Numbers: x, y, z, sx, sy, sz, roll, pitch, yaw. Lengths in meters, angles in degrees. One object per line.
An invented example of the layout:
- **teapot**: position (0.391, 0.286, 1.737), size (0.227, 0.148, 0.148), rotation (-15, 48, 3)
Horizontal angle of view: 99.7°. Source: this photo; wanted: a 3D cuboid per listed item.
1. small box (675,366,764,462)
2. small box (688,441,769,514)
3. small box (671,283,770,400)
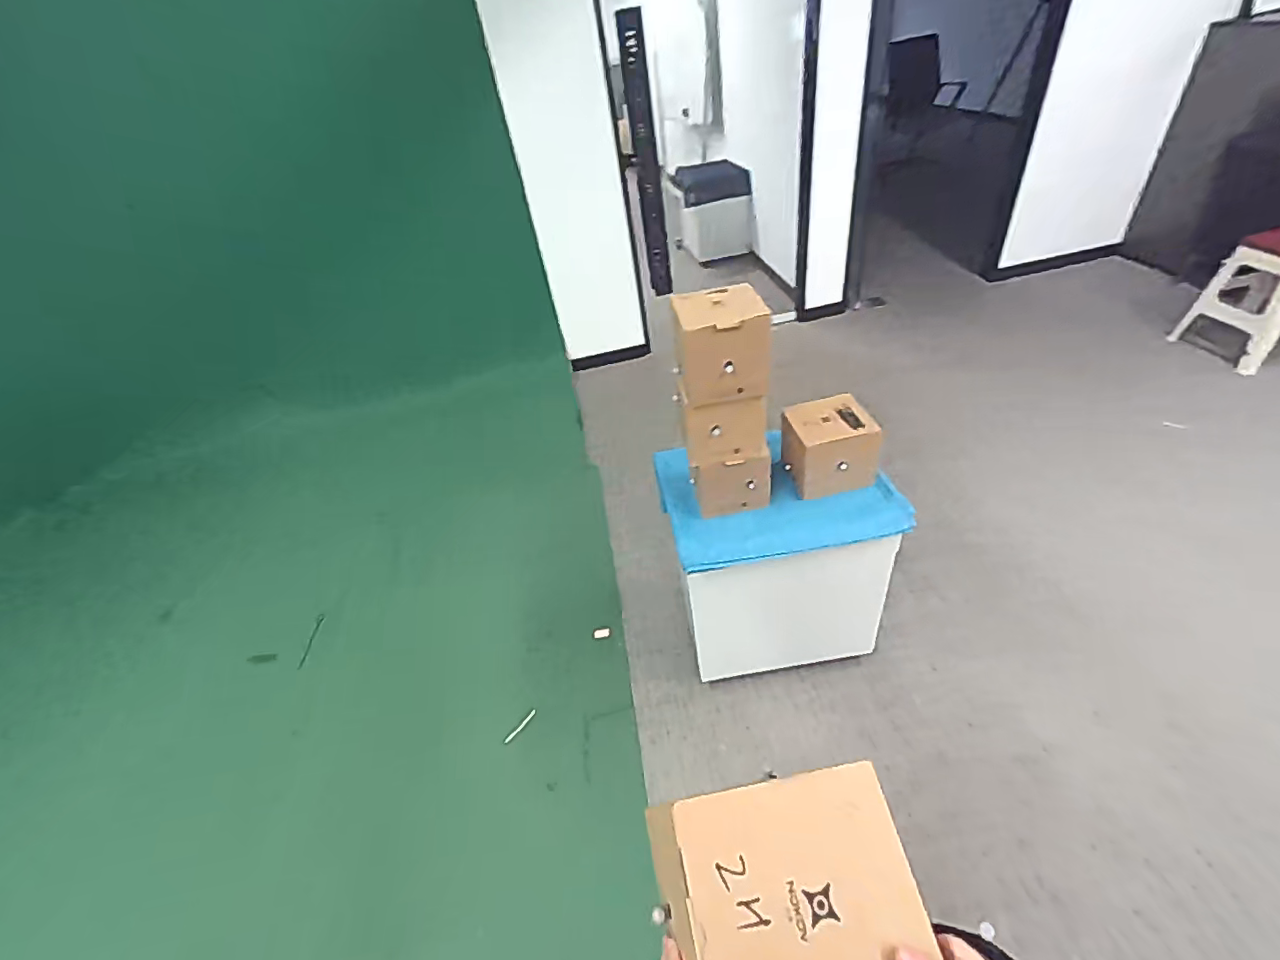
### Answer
- **small box**: position (0.176, -0.154, 1.201), size (0.168, 0.176, 0.179), rotation (-9, 38, 1)
- **small box**: position (0.209, -0.033, 1.304), size (0.168, 0.176, 0.179), rotation (-9, 39, 0)
- **small box**: position (0.160, -0.273, 1.089), size (0.168, 0.176, 0.179), rotation (-9, 39, 1)
